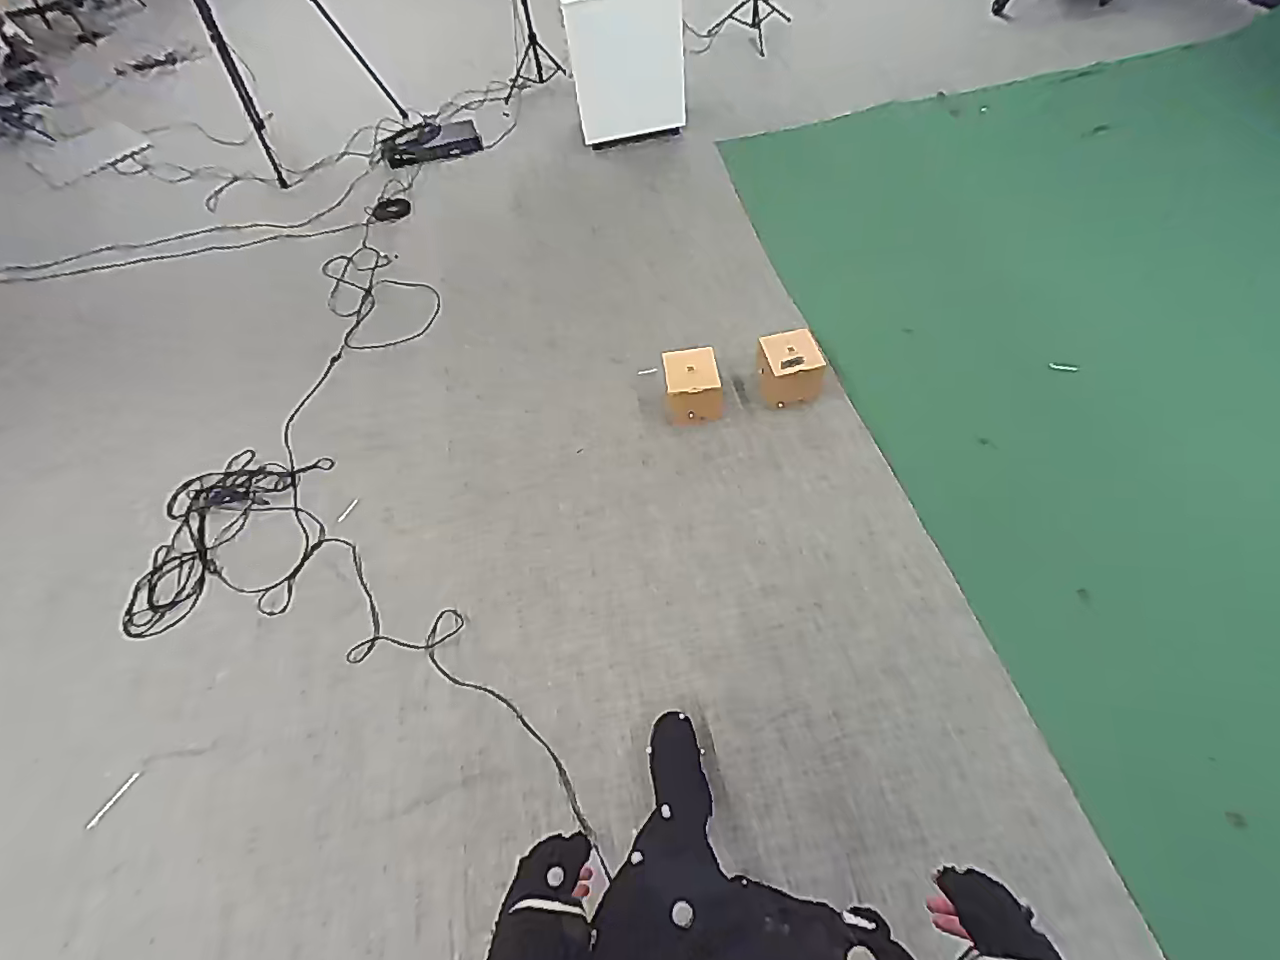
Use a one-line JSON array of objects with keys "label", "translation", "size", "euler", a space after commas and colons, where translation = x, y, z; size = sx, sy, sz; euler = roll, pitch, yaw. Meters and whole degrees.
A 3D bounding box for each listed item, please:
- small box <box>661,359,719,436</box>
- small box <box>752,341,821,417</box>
[{"label": "small box", "translation": [0.159, -0.269, 1.772], "size": [0.168, 0.176, 0.179], "euler": [-7, 58, 1]}, {"label": "small box", "translation": [0.474, -0.323, 1.776], "size": [0.168, 0.176, 0.179], "euler": [-11, 56, -2]}]
